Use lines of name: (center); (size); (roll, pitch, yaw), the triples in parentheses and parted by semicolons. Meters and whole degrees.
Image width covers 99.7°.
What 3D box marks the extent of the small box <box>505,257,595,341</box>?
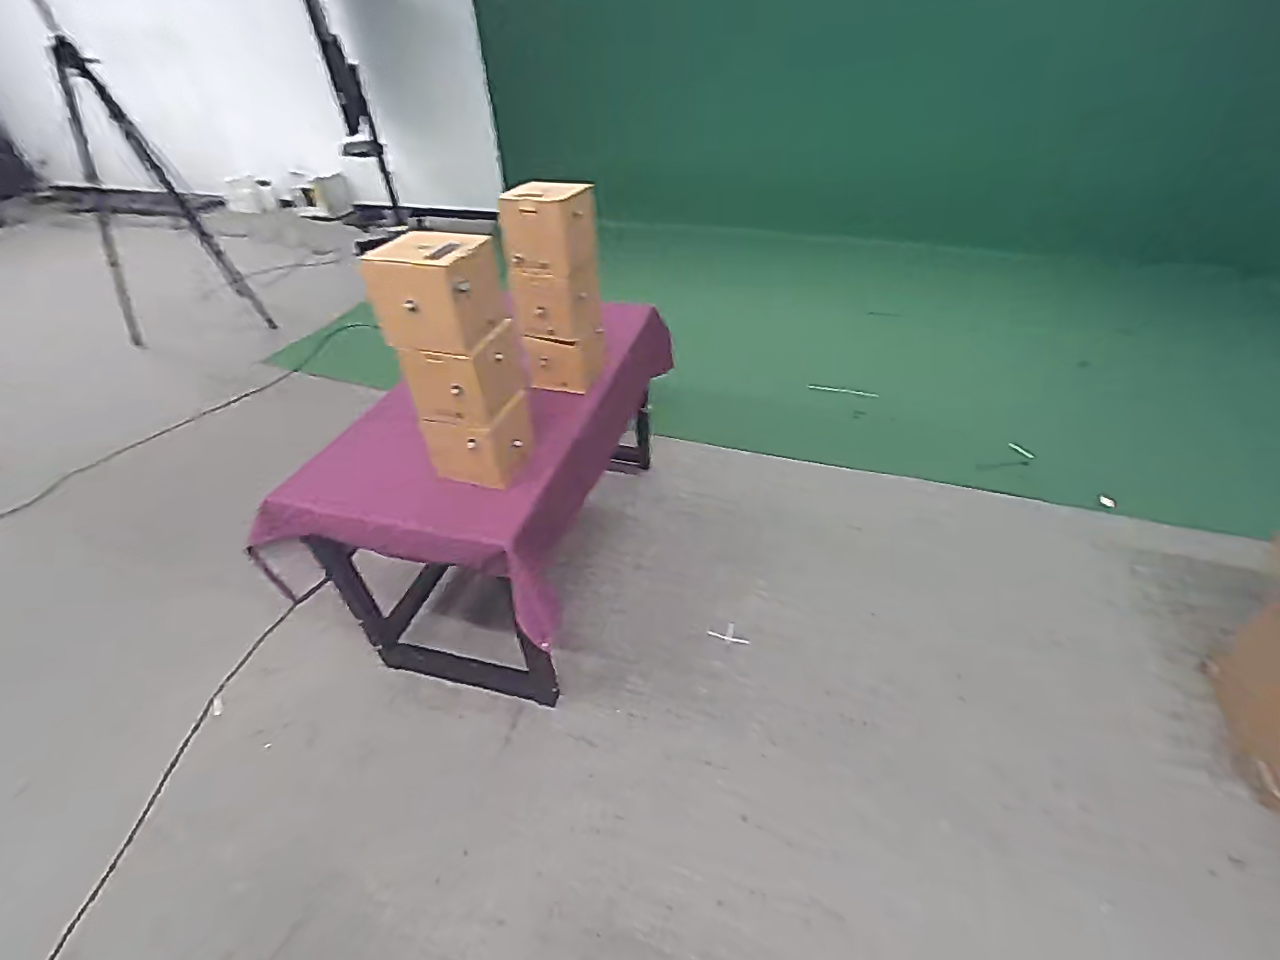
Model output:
small box: (-0.228, -0.482, 1.426); (0.168, 0.176, 0.179); (12, 43, 16)

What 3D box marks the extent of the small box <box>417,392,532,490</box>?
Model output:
small box: (-0.366, -0.098, 1.234); (0.179, 0.176, 0.168); (10, 41, 15)

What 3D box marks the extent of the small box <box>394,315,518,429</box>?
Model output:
small box: (-0.371, -0.225, 1.133); (0.168, 0.176, 0.179); (10, 42, 13)

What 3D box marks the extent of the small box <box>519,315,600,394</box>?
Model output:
small box: (-0.219, -0.361, 1.537); (0.168, 0.176, 0.179); (9, 41, 14)

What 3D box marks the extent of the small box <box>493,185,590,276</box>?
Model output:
small box: (-0.230, -0.613, 1.326); (0.168, 0.176, 0.179); (11, 41, 17)
